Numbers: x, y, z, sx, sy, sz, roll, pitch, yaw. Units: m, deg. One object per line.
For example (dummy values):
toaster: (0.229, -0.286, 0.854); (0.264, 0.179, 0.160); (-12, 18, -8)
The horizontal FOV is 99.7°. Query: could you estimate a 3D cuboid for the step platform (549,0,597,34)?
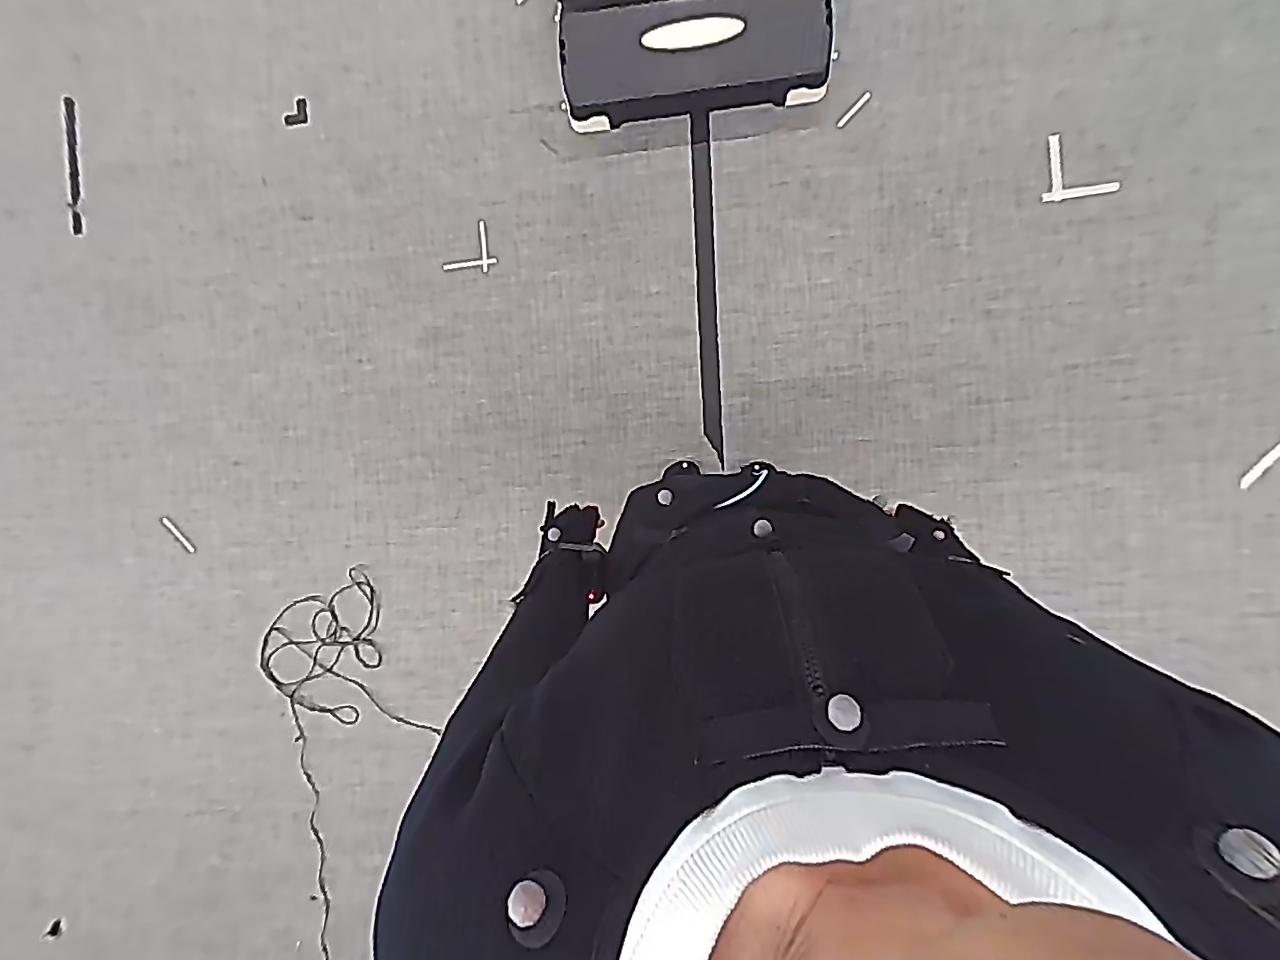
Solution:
step platform: (0.087, -1.338, 1.301); (0.684, 0.204, 0.286); (-4, 93, 5)
